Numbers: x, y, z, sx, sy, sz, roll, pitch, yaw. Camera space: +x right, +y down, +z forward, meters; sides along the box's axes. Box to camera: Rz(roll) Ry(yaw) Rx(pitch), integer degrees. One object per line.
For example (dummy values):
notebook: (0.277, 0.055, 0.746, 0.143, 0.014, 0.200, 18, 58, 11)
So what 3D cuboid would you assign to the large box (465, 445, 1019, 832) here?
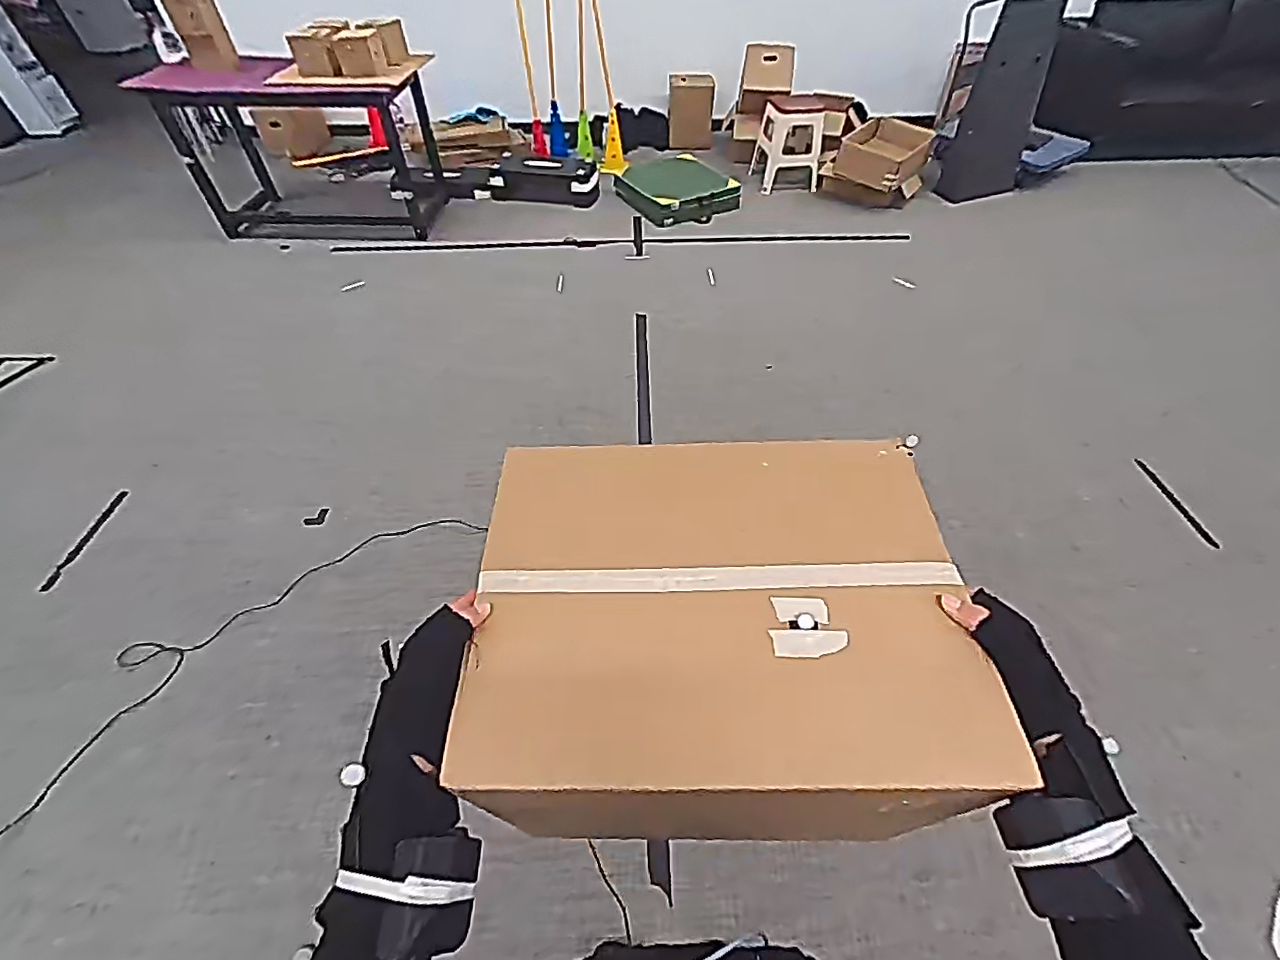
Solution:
large box: (0.073, 0.181, 0.589, 0.408, 0.320, 0.320, -1, 52, 2)
